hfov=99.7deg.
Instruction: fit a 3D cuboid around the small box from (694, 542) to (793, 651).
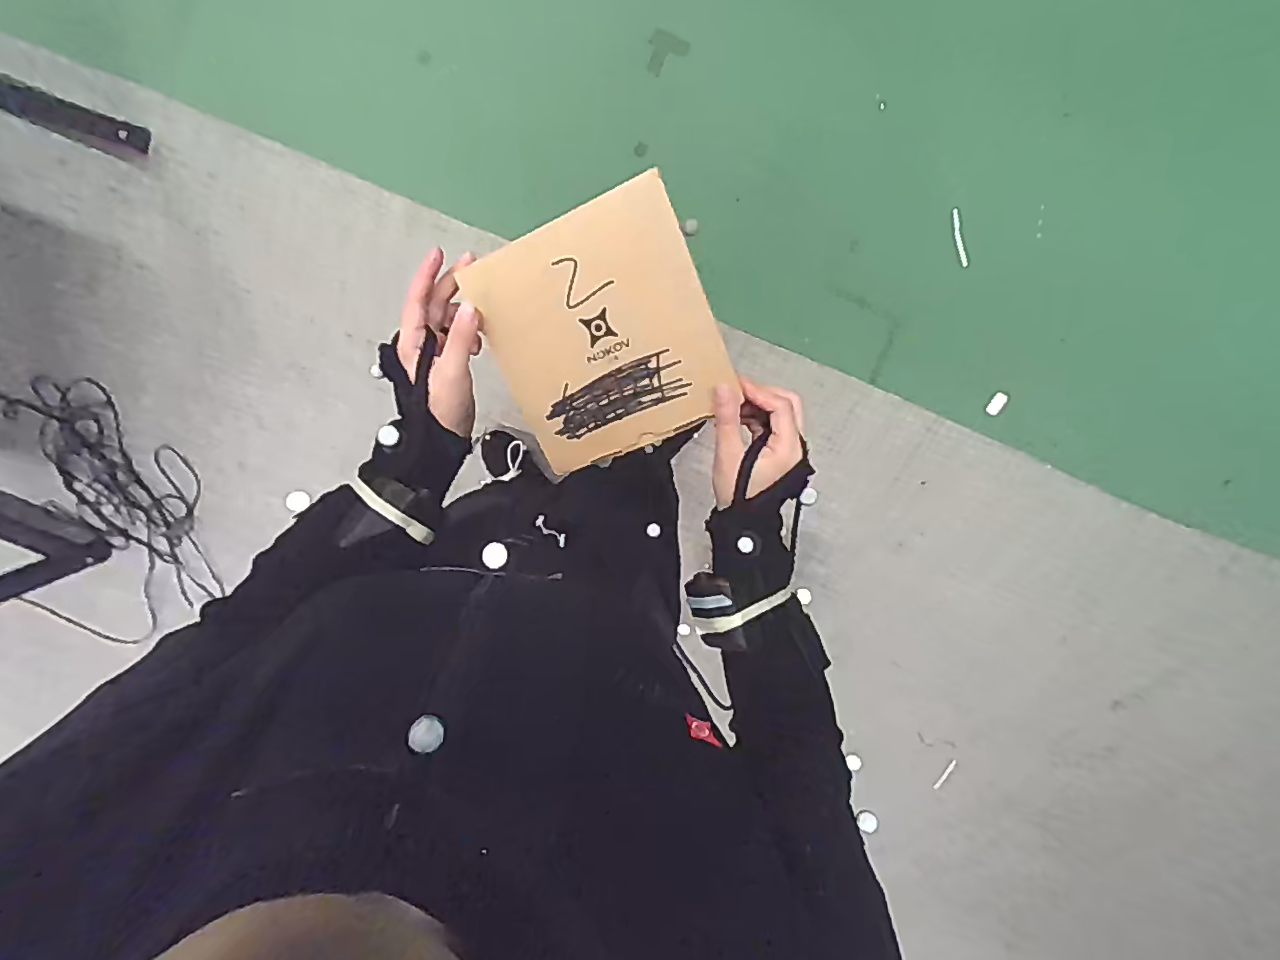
[{"bbox_3d":[0.247,0.277,1.325,0.179,0.176,0.168,26,107,-1],"label":"small box"}]
